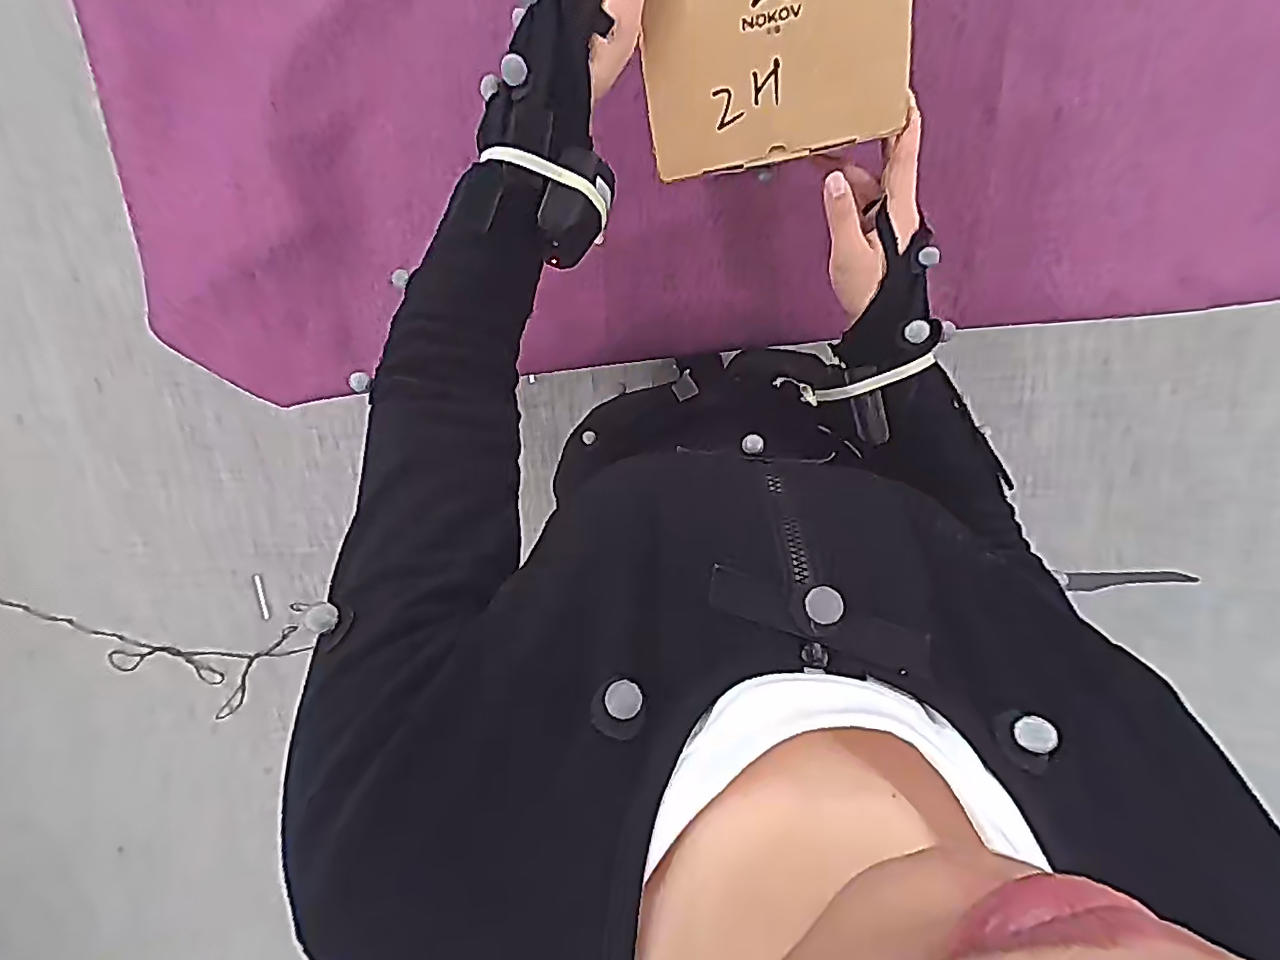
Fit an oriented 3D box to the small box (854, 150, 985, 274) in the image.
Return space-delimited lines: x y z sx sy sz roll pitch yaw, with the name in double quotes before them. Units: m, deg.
"small box" 0.509 -0.487 1.010 0.168 0.176 0.179 -2 104 6
